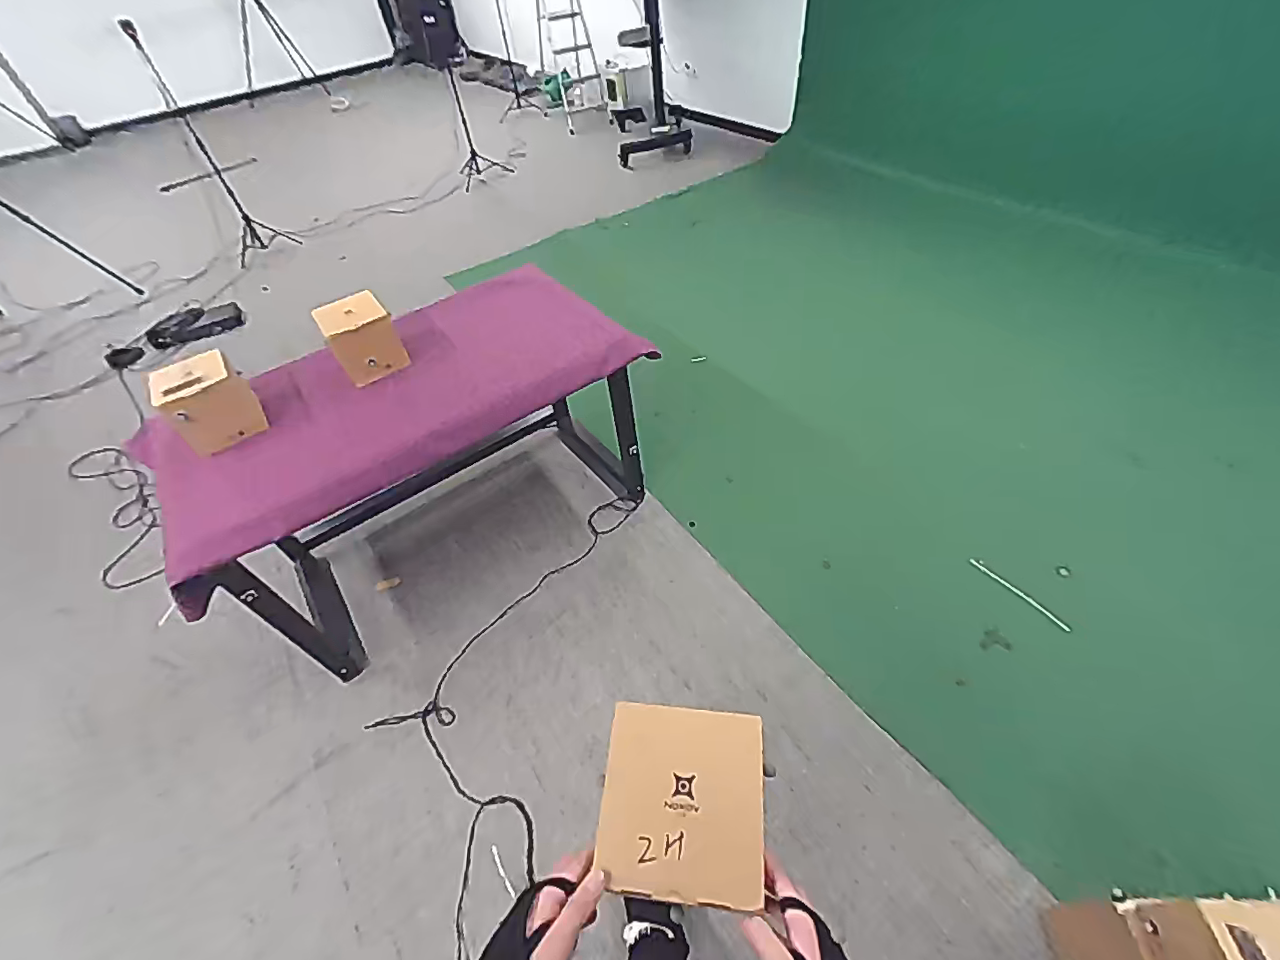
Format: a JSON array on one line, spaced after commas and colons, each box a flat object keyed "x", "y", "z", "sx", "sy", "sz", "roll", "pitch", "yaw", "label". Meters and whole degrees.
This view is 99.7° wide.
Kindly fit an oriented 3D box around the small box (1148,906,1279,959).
[{"x": 0.939, "y": 0.767, "z": 0.823, "sx": 0.179, "sy": 0.176, "sz": 0.168, "roll": 0, "pitch": 49, "yaw": 6, "label": "small box"}]

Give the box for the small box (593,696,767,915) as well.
[{"x": 0.052, "y": 0.371, "z": 0.617, "sx": 0.168, "sy": 0.176, "sz": 0.179, "roll": 3, "pitch": 51, "yaw": 9, "label": "small box"}]

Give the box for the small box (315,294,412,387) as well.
[{"x": -0.768, "y": -0.389, "z": 1.513, "sx": 0.168, "sy": 0.176, "sz": 0.179, "roll": -30, "pitch": 53, "yaw": -20, "label": "small box"}]
